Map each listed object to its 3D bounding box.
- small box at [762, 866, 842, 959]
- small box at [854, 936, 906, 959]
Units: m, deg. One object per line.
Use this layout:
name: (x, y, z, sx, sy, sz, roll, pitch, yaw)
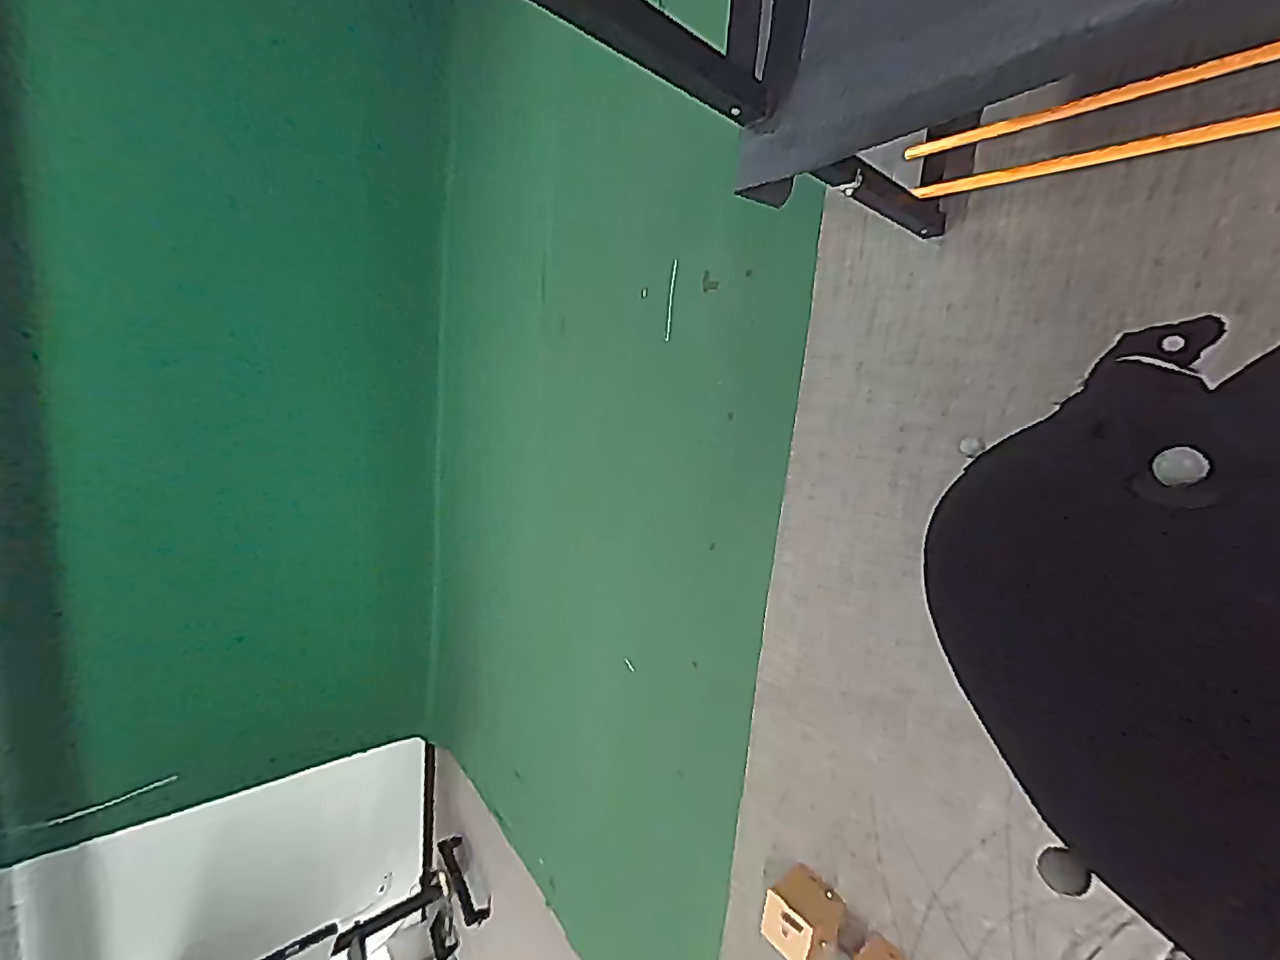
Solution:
small box: (0.513, 1.377, 1.704, 0.168, 0.176, 0.179, 19, 107, 48)
small box: (0.681, 1.447, 1.506, 0.168, 0.176, 0.179, 20, 106, 48)
